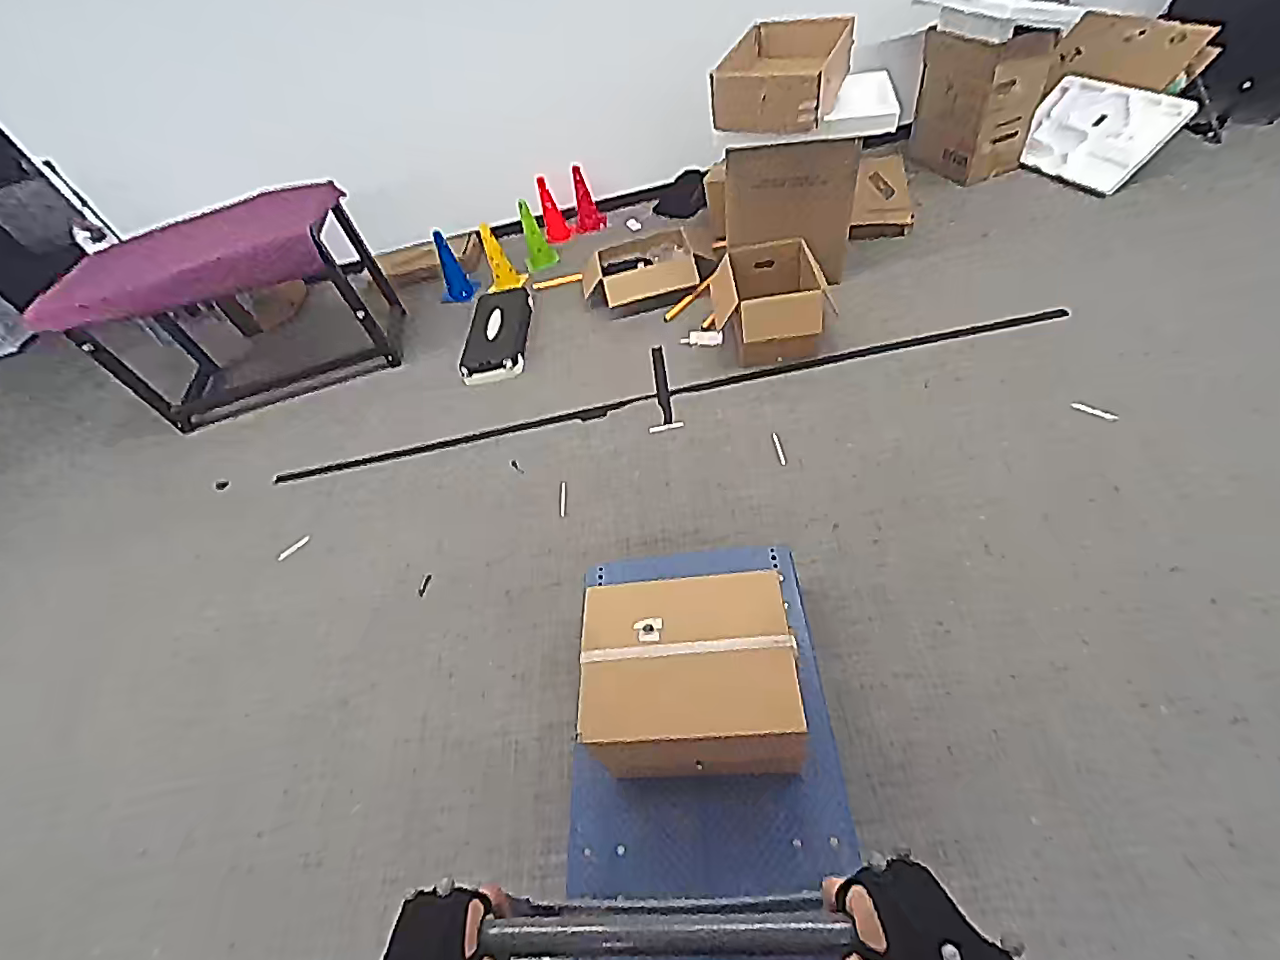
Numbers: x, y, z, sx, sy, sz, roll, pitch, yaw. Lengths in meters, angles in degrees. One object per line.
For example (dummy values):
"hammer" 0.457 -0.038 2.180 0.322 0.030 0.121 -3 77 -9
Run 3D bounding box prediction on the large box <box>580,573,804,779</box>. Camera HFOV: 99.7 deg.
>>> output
"large box" 0.115 0.430 1.156 0.408 0.320 0.320 -8 49 9
